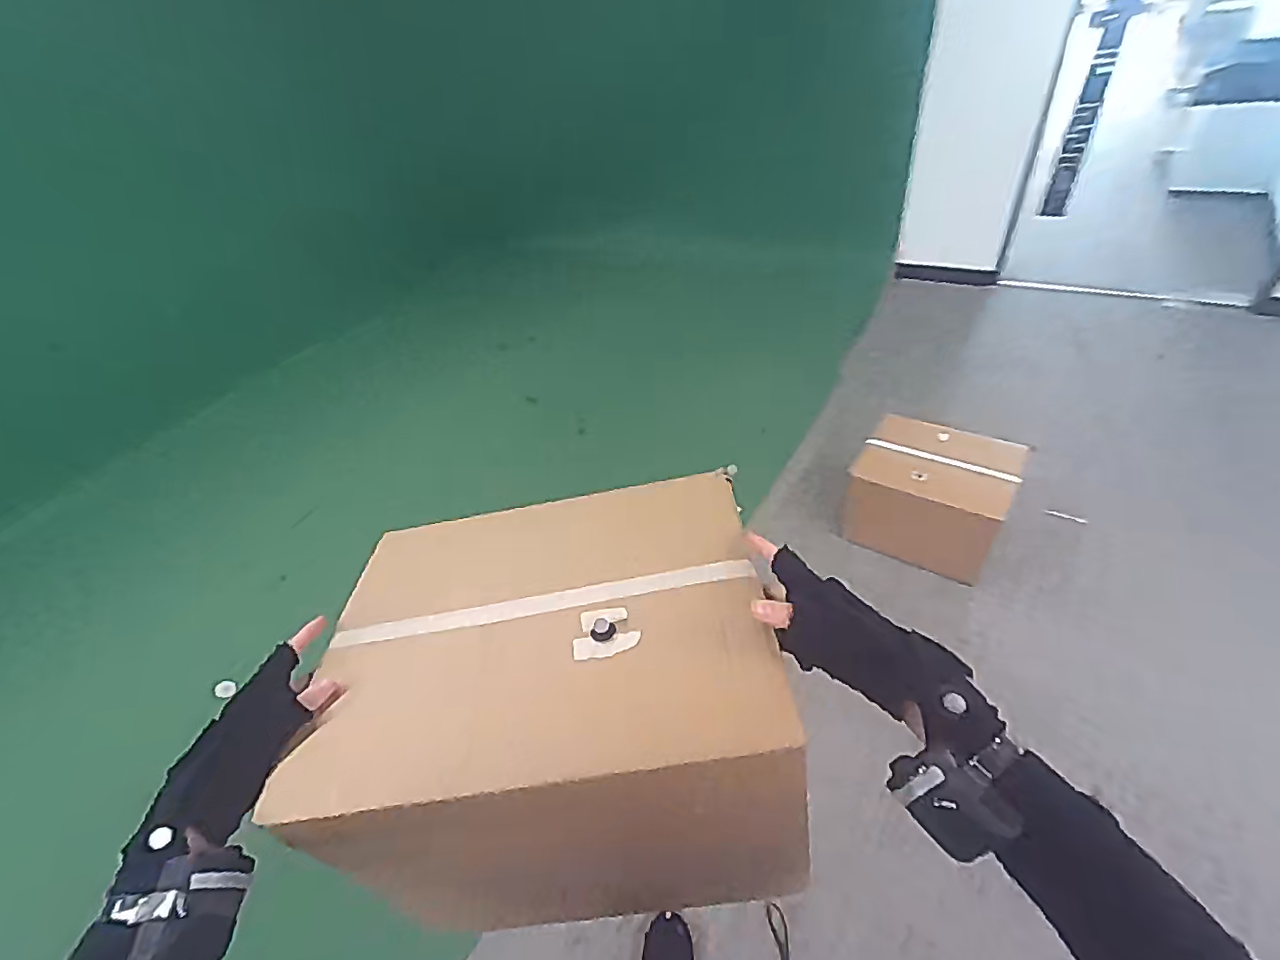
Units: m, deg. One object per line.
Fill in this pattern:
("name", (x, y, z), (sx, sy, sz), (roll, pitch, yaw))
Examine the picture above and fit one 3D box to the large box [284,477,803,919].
("large box", (-0.060, 0.236, 0.603), (0.408, 0.320, 0.320), (-9, 37, 4))
